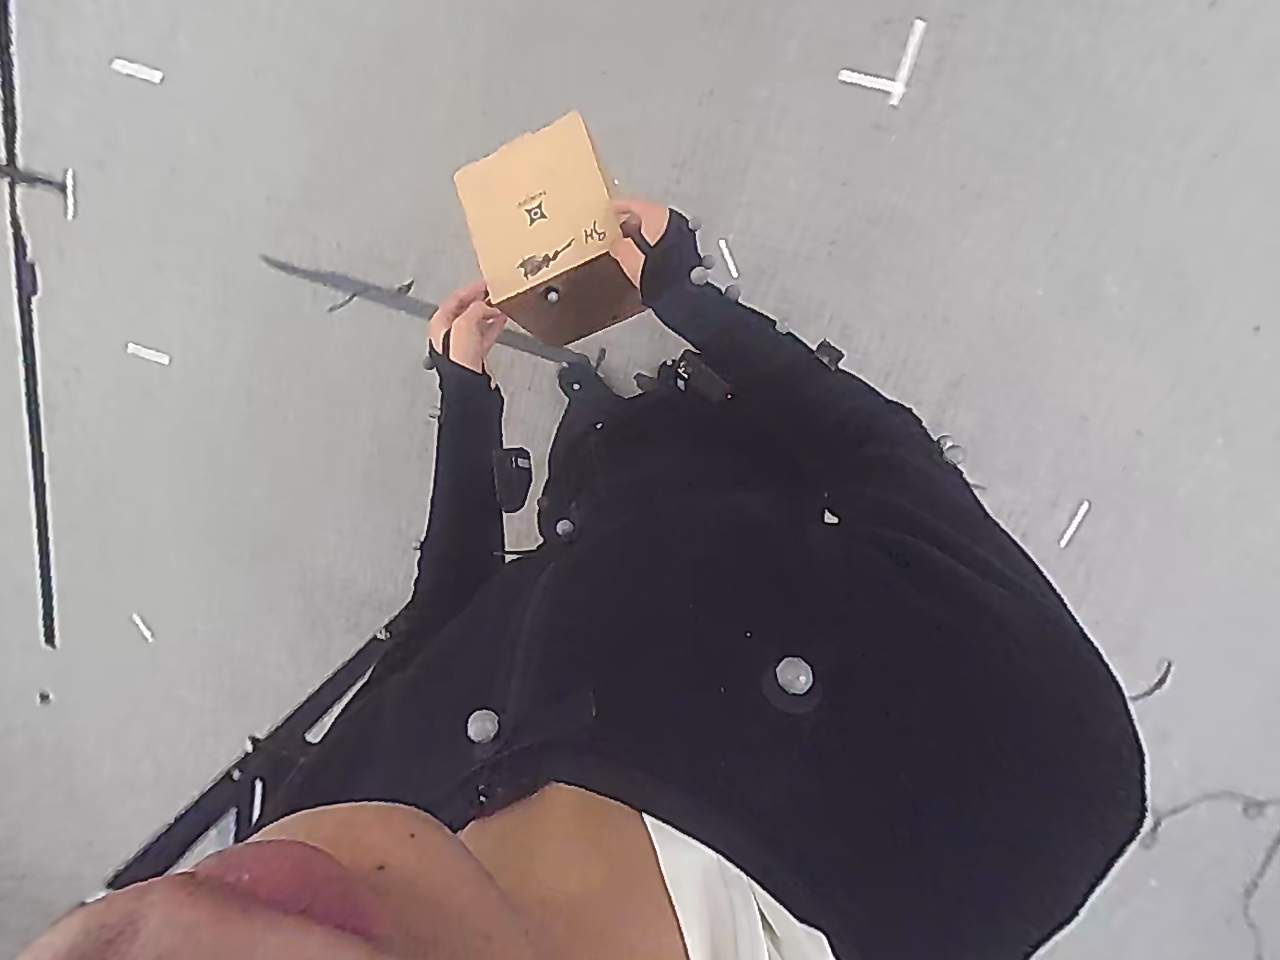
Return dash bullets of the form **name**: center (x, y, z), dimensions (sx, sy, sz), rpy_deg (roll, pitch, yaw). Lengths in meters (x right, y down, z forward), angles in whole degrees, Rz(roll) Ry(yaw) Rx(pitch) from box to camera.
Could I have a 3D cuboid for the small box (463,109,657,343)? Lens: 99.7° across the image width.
- **small box**: center (-0.090, -0.300, 0.679), dimensions (0.168, 0.176, 0.179), rpy_deg (-18, 82, 12)
